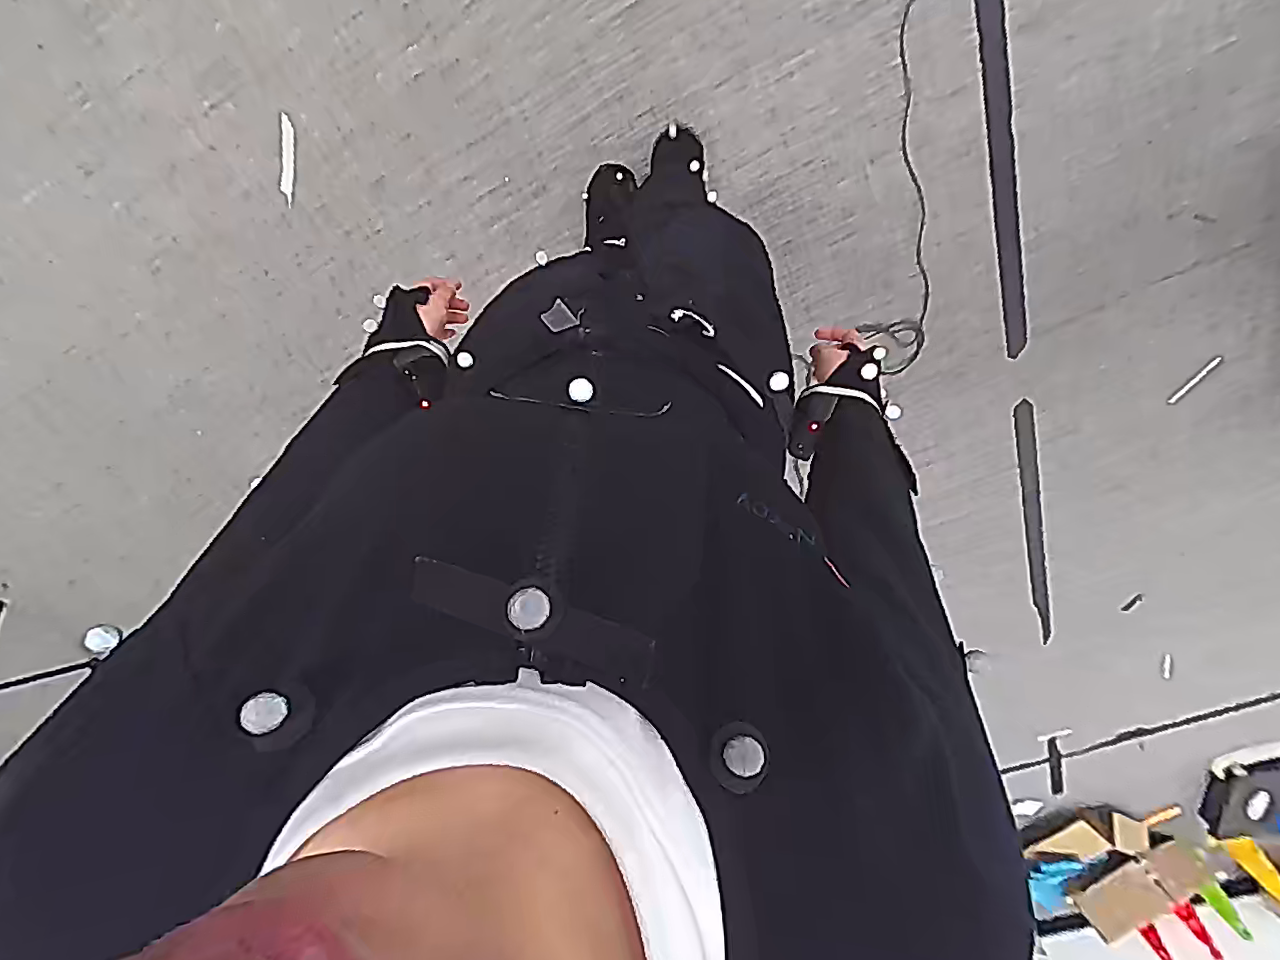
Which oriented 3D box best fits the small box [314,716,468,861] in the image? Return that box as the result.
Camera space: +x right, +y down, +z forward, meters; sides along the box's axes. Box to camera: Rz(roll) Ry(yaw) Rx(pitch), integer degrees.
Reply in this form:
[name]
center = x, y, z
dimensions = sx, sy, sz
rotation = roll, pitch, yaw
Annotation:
[small box]
center = -0.454, 0.570, 1.017
dimensions = 0.168, 0.176, 0.179
rotation = -25, 121, 12
